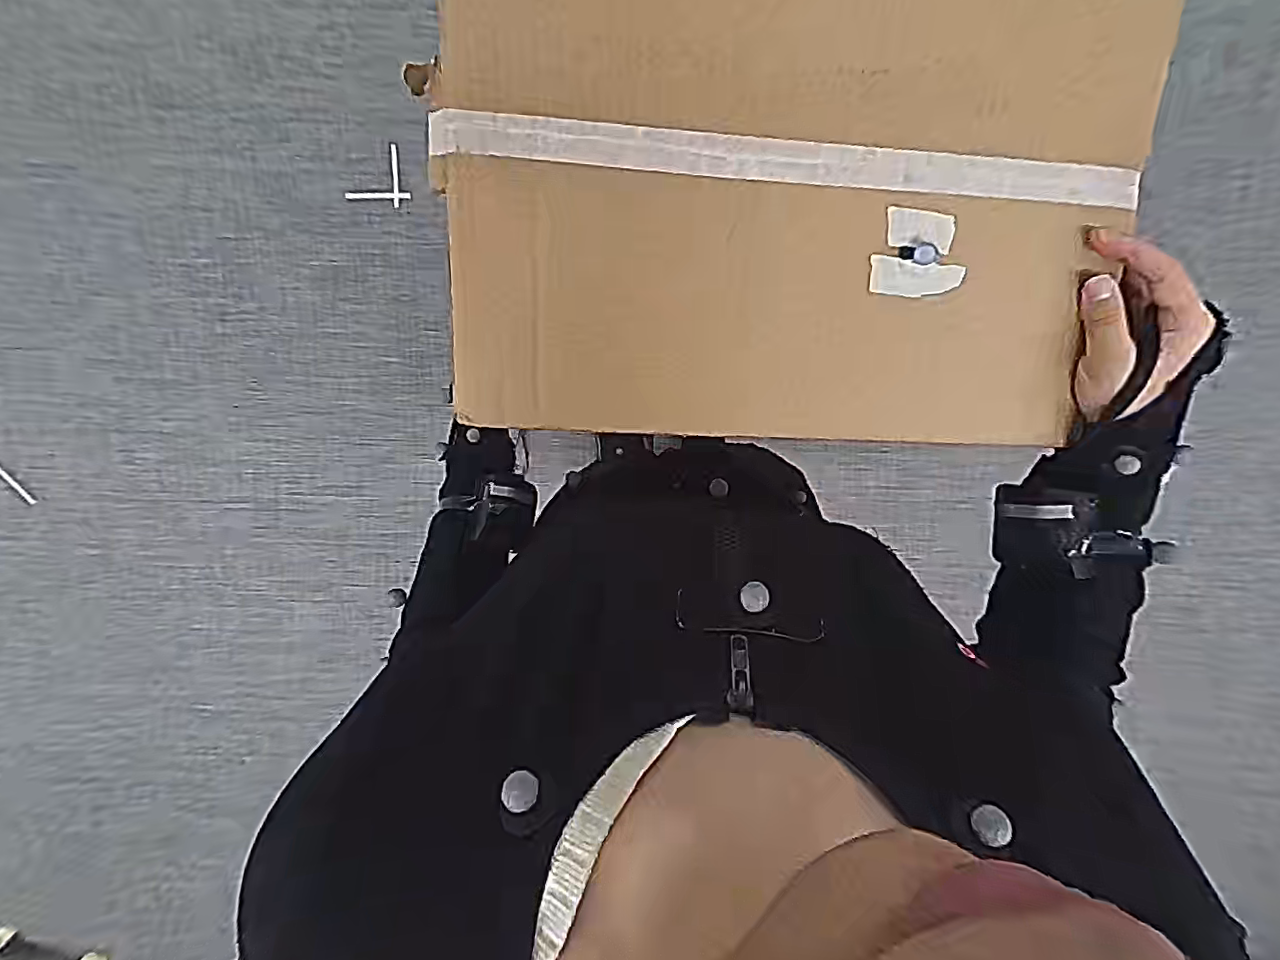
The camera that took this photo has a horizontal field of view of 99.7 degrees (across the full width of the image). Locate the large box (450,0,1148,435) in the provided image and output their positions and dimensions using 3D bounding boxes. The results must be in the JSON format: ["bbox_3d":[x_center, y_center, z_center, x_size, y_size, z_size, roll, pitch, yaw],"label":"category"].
[{"bbox_3d":[0.078,-0.214,0.462,0.408,0.320,0.320,1,104,-7],"label":"large box"}]
